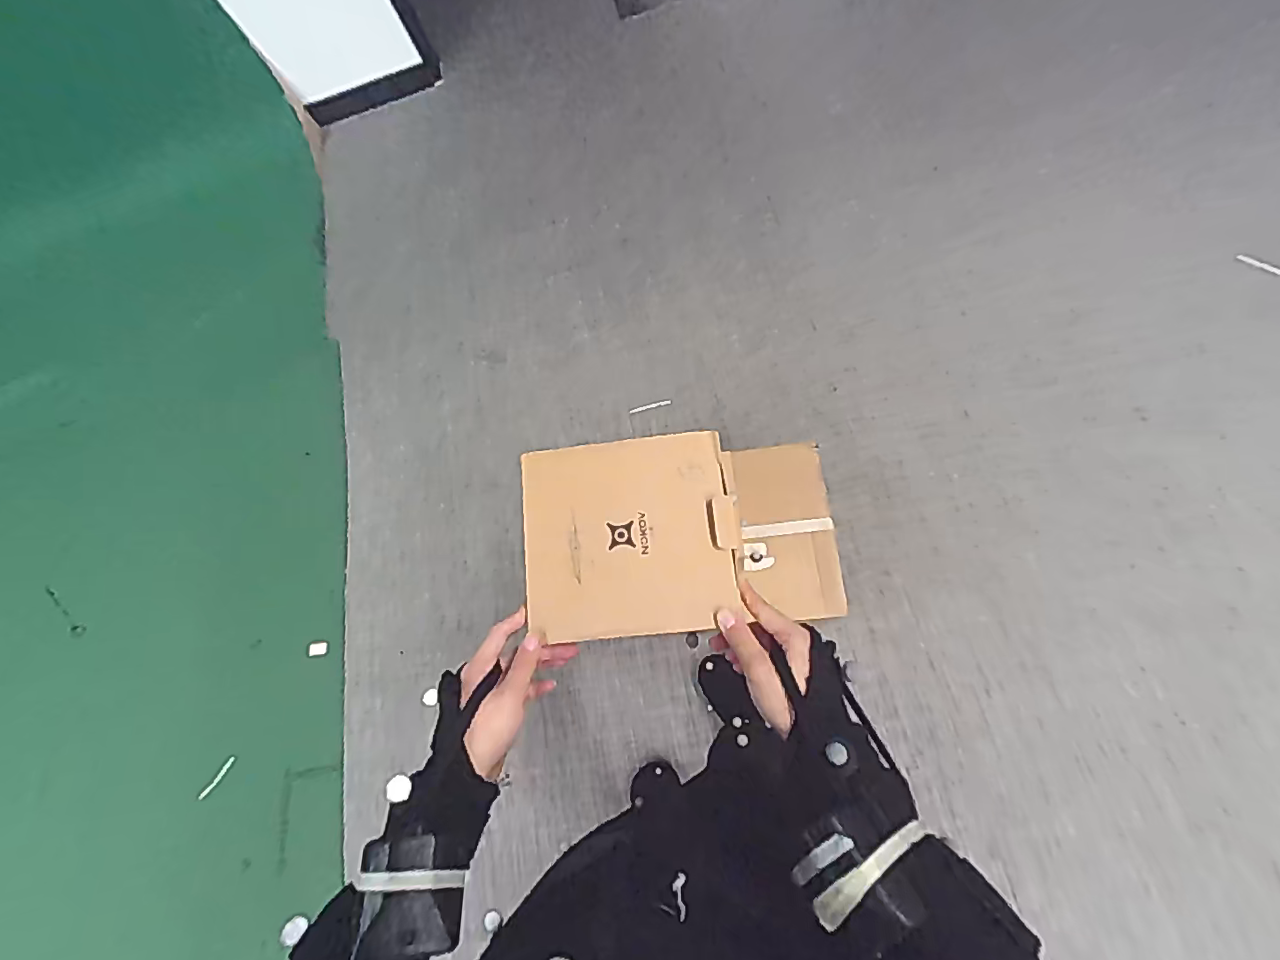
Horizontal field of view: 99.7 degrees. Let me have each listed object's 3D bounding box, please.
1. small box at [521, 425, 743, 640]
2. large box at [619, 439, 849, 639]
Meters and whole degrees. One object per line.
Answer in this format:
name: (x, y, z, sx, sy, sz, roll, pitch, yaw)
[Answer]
small box: (-0.003, 0.060, 0.529, 0.179, 0.176, 0.168, -8, 74, 6)
large box: (0.163, 0.142, 1.103, 0.408, 0.320, 0.320, -8, 72, 8)
